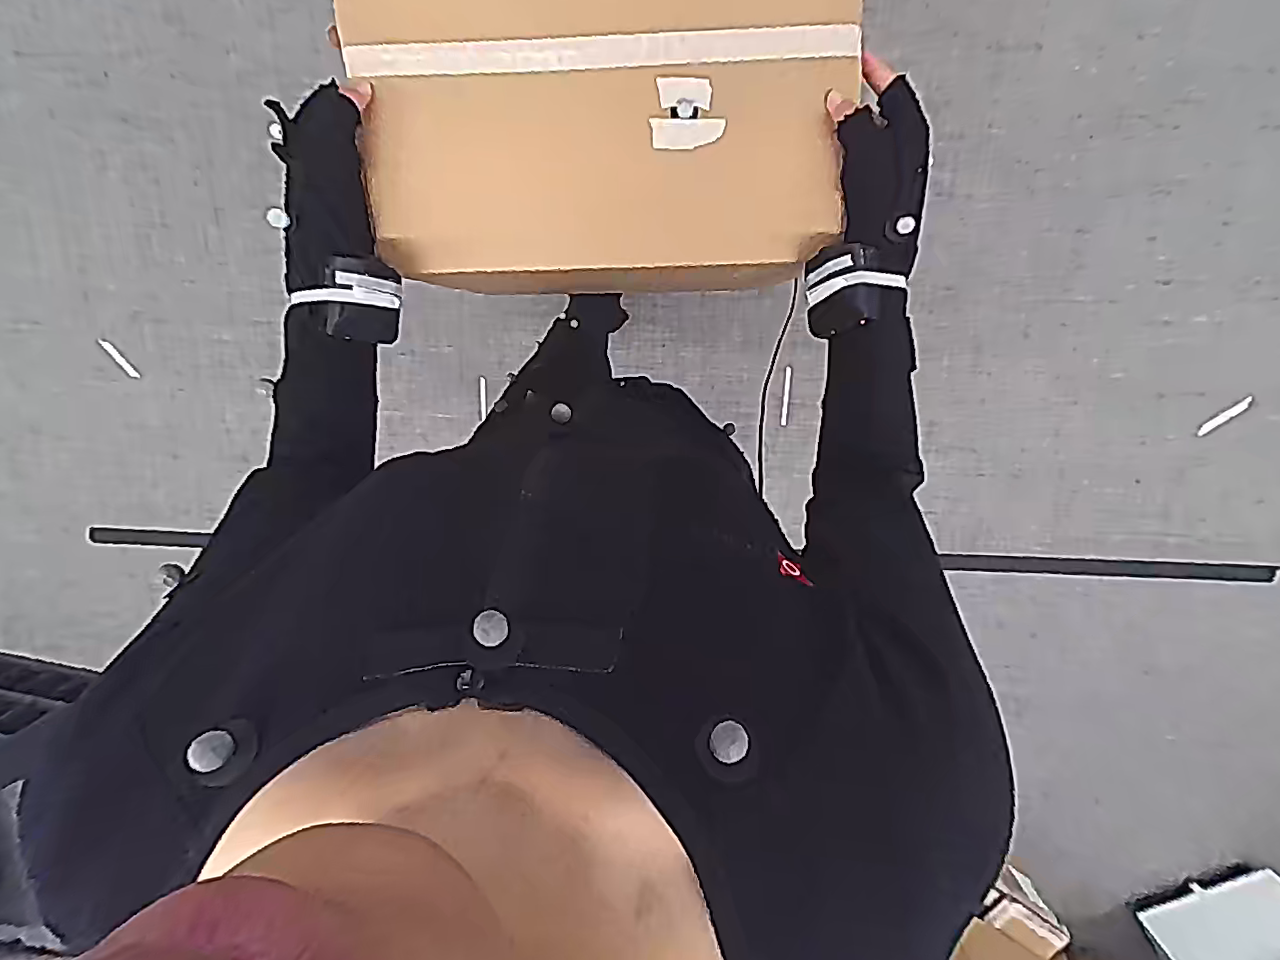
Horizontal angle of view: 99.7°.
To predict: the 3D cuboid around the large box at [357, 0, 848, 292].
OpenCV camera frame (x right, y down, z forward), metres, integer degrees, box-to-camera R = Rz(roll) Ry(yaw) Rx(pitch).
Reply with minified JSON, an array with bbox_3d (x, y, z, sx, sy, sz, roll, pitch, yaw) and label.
[{"bbox_3d":[-0.030,-0.387,0.588,0.408,0.320,0.320,-2,106,1],"label":"large box"}]
